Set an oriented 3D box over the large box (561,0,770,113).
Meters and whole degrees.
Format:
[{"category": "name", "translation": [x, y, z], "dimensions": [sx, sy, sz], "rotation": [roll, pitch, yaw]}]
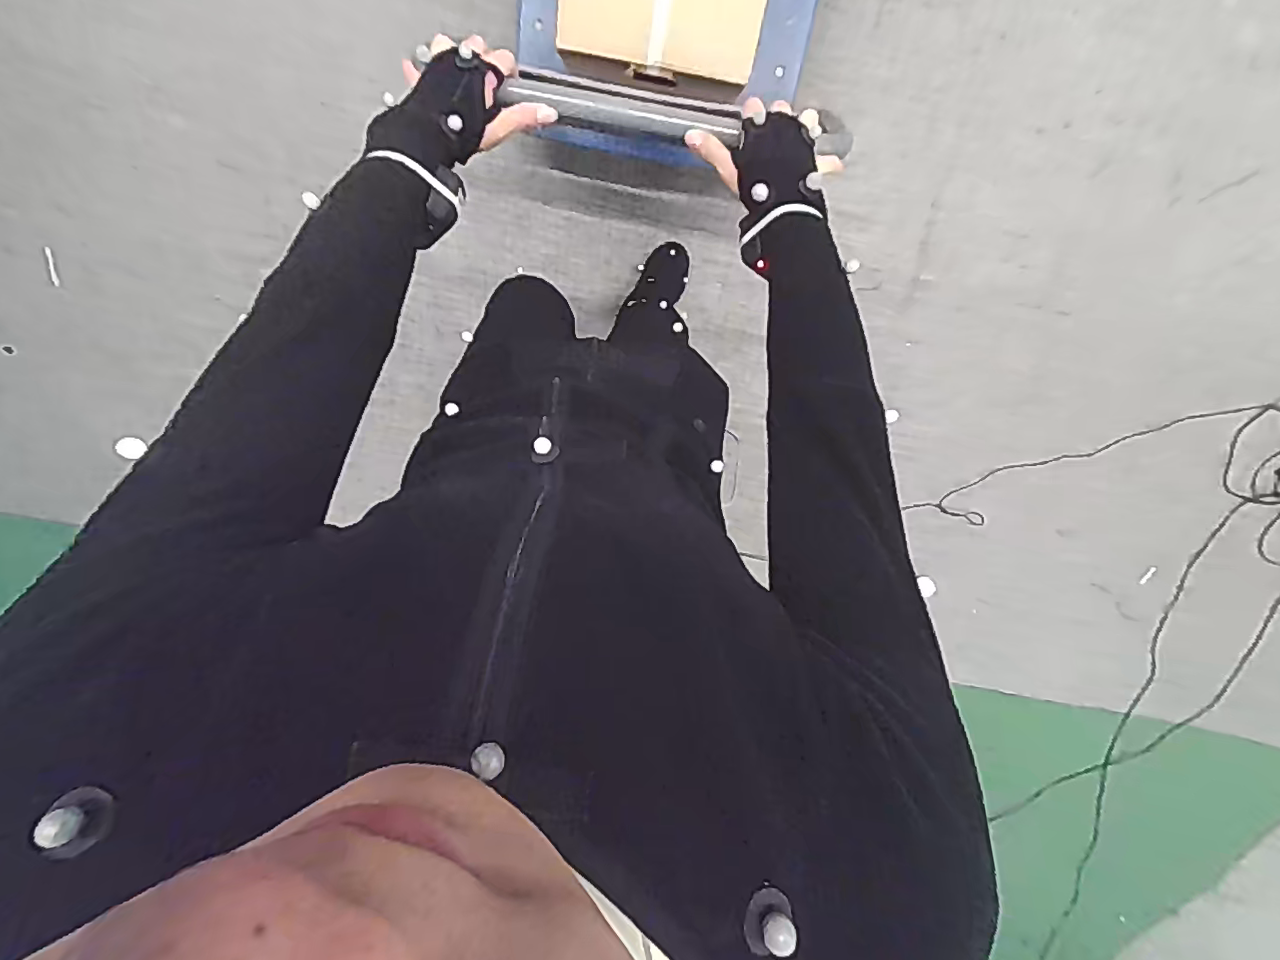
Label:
[{"category": "large box", "translation": [0.063, -0.892, 0.899], "dimensions": [0.320, 0.320, 0.408], "rotation": [9, 115, -2]}]
